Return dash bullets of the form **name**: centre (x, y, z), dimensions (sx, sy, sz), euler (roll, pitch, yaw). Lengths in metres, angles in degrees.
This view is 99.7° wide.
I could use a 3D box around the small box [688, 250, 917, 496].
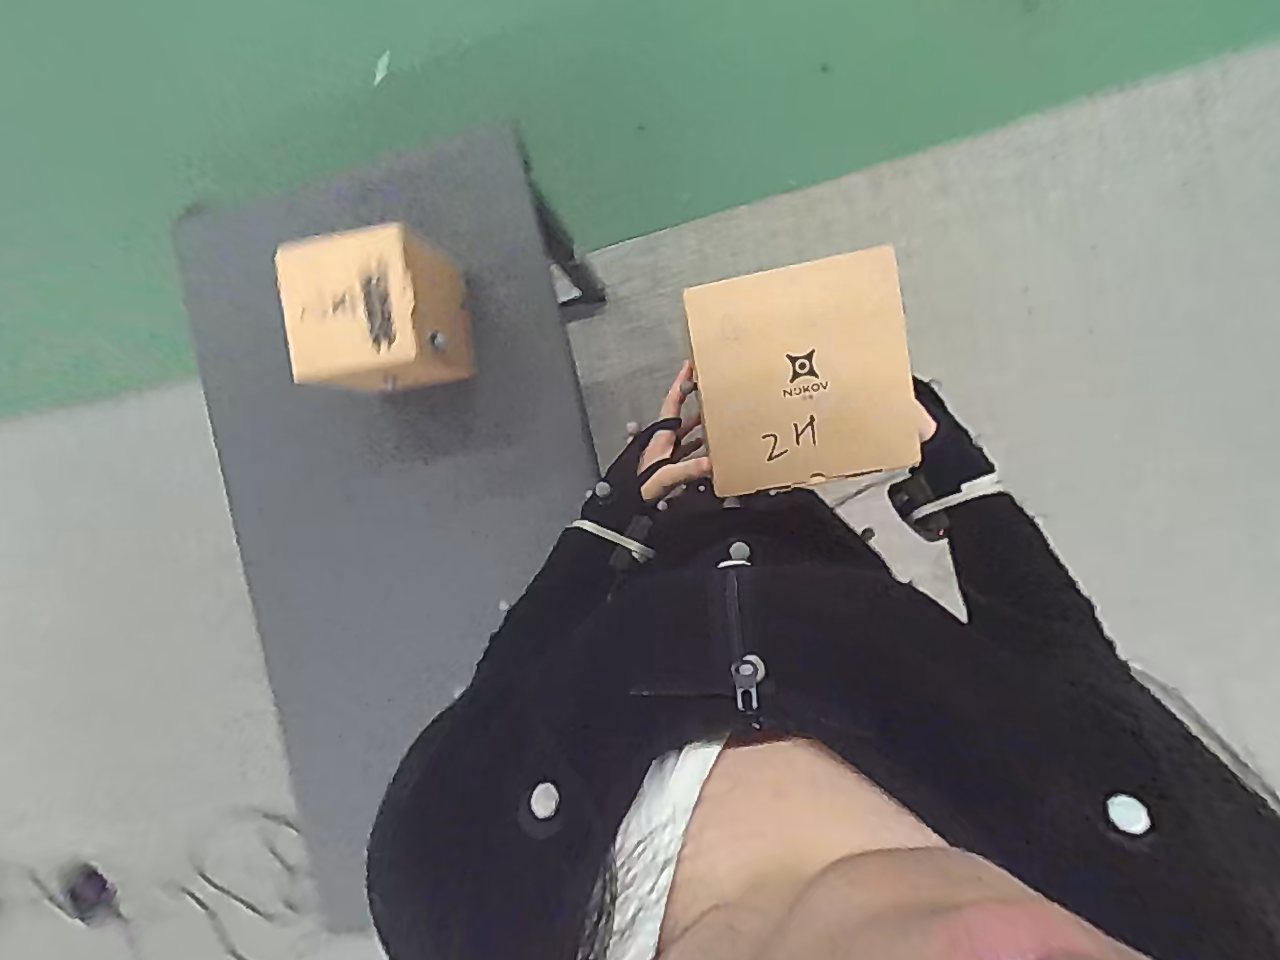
- **small box**: centre (0.137, -0.091, 0.512), dimensions (0.168, 0.176, 0.179), euler (-9, 96, 7)
